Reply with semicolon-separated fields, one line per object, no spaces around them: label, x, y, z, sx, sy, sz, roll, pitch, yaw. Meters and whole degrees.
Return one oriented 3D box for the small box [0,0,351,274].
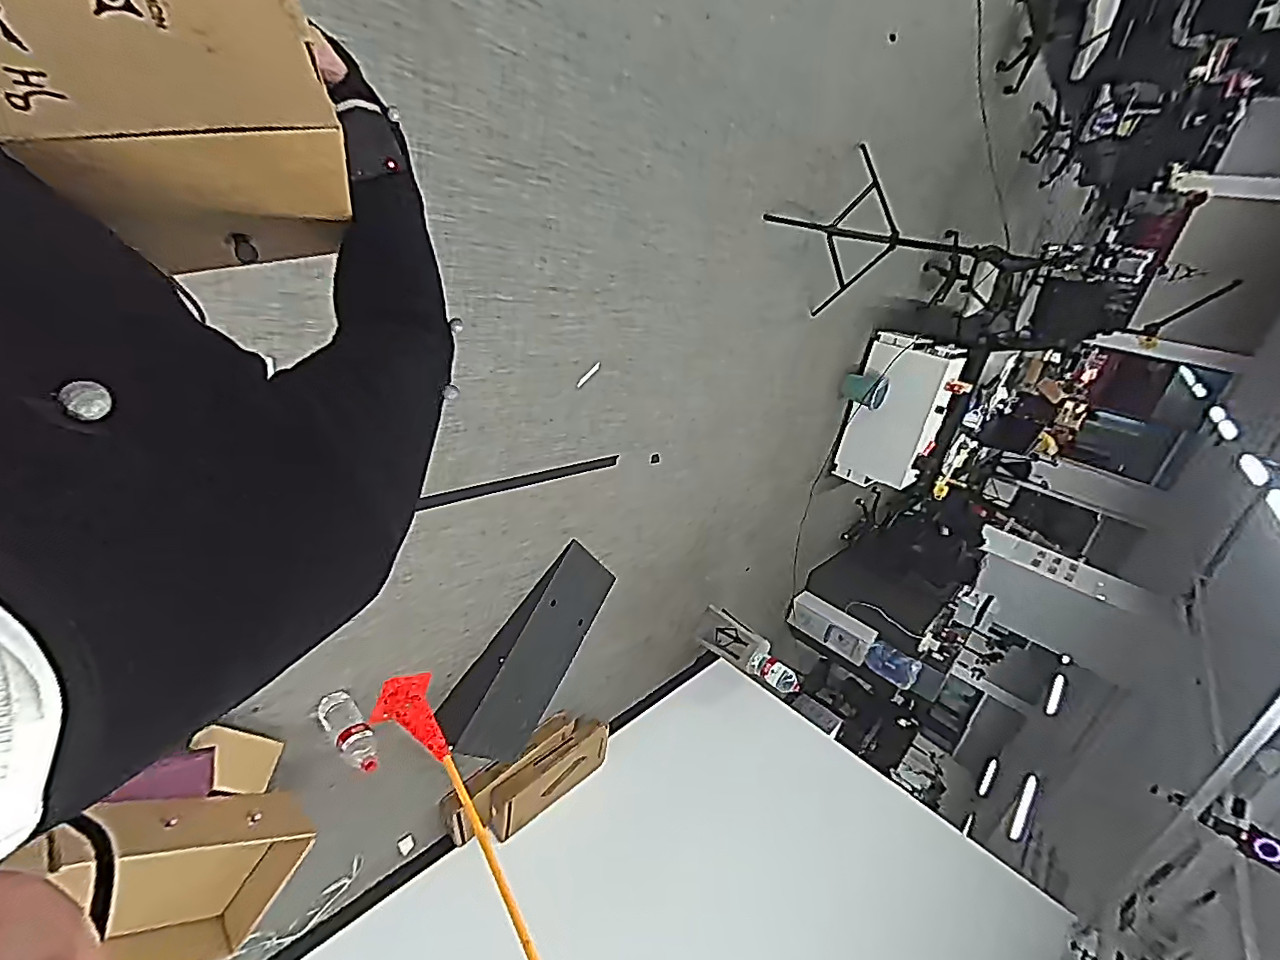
small box;-0.339;-0.280;0.411;0.179;0.176;0.168;-21;92;-26
